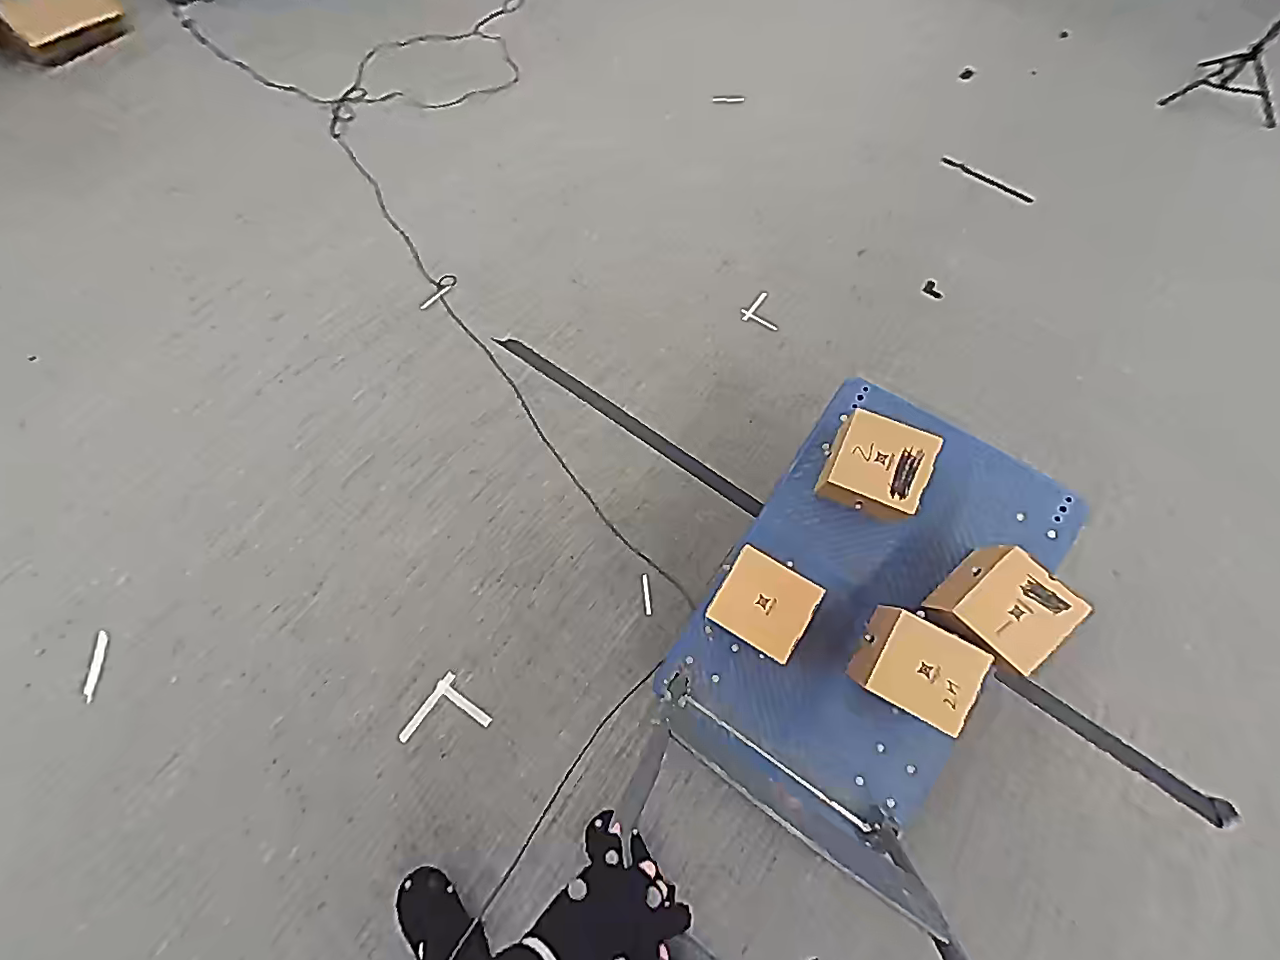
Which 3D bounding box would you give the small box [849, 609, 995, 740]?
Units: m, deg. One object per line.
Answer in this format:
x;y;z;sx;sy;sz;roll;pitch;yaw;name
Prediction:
0.538;0.368;1.059;0.179;0.176;0.168;29;86;13;small box

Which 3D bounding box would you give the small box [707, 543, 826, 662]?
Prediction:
0.254;0.250;1.124;0.179;0.176;0.168;31;86;11;small box

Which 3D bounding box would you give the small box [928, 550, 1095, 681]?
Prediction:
0.705;0.255;1.053;0.179;0.176;0.168;-44;77;0;small box
